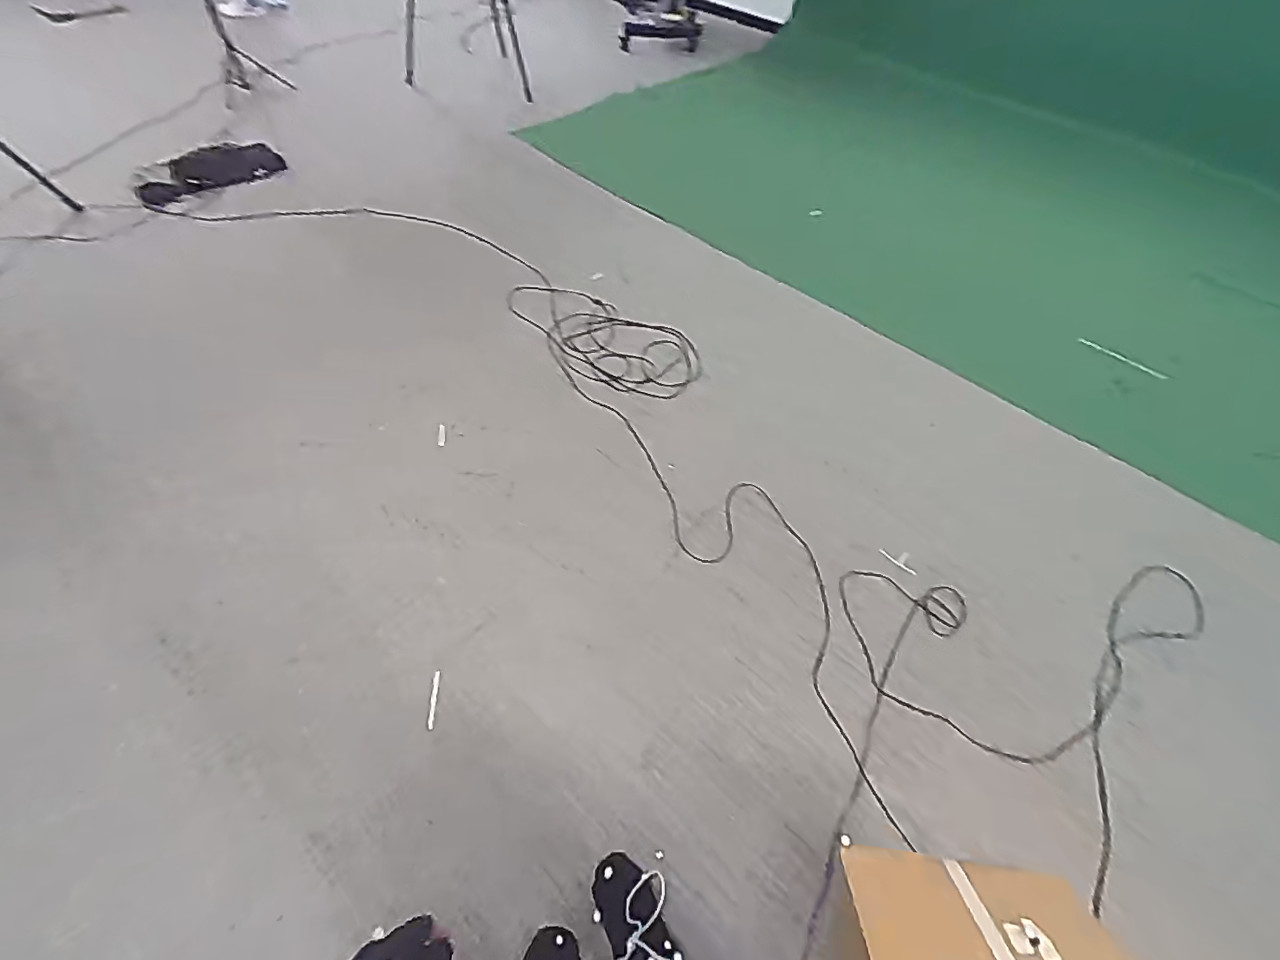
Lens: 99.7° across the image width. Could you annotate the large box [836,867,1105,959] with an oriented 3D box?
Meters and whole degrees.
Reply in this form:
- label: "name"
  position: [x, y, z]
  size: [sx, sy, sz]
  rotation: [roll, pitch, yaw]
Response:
- label: "large box"
  position: [0.420, 0.753, 0.617]
  size: [0.320, 0.408, 0.320]
  rotation: [4, 91, 9]
